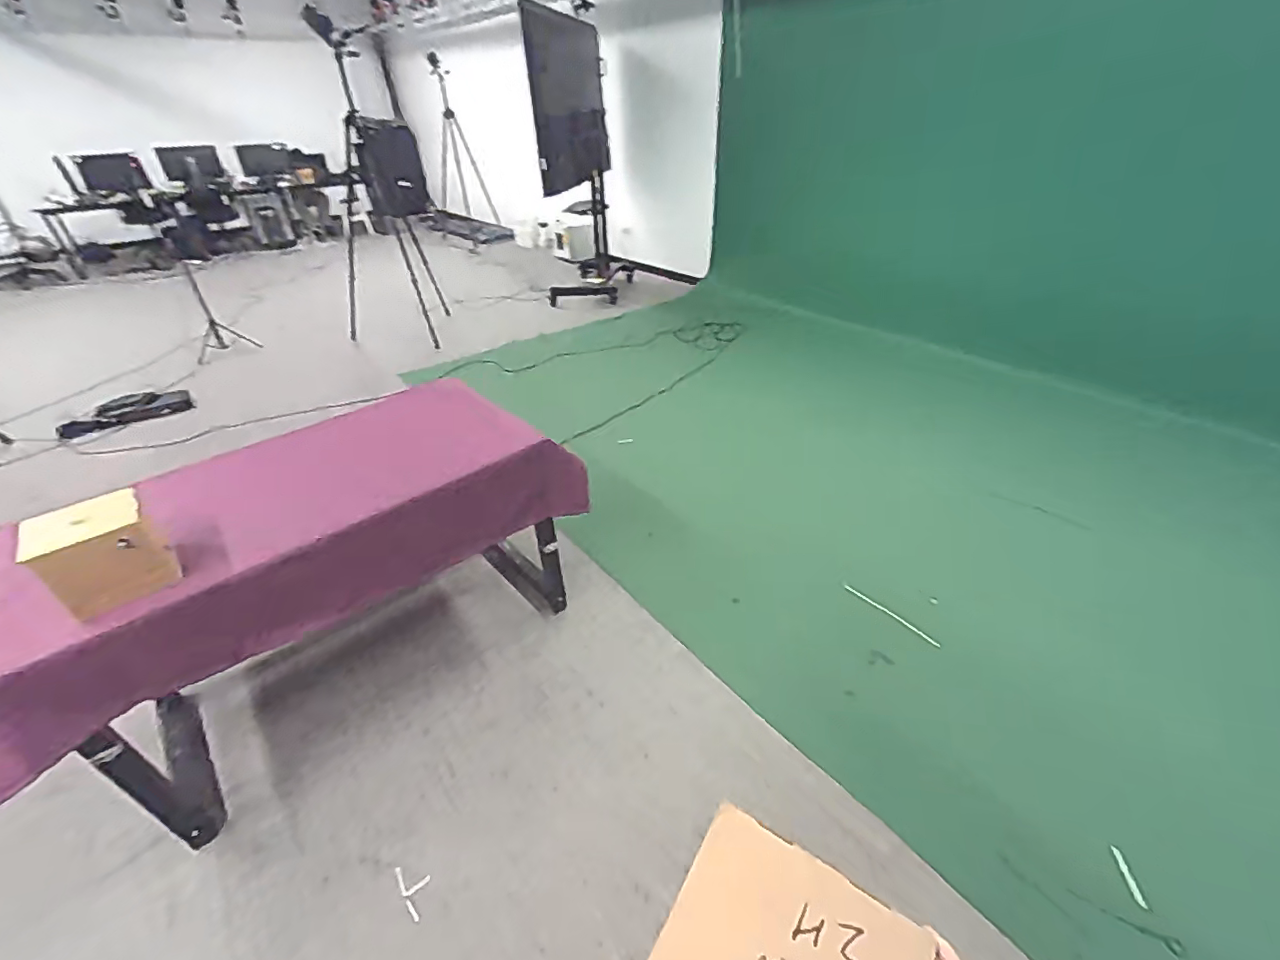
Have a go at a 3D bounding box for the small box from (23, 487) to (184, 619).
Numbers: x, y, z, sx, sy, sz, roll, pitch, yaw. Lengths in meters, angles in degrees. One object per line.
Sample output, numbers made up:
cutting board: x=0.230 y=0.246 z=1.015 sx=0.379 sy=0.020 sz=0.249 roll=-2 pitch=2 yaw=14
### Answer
small box: x=-1.079 y=0.147 z=1.098 sx=0.179 sy=0.176 sz=0.168 roll=-28 pitch=42 yaw=-33
